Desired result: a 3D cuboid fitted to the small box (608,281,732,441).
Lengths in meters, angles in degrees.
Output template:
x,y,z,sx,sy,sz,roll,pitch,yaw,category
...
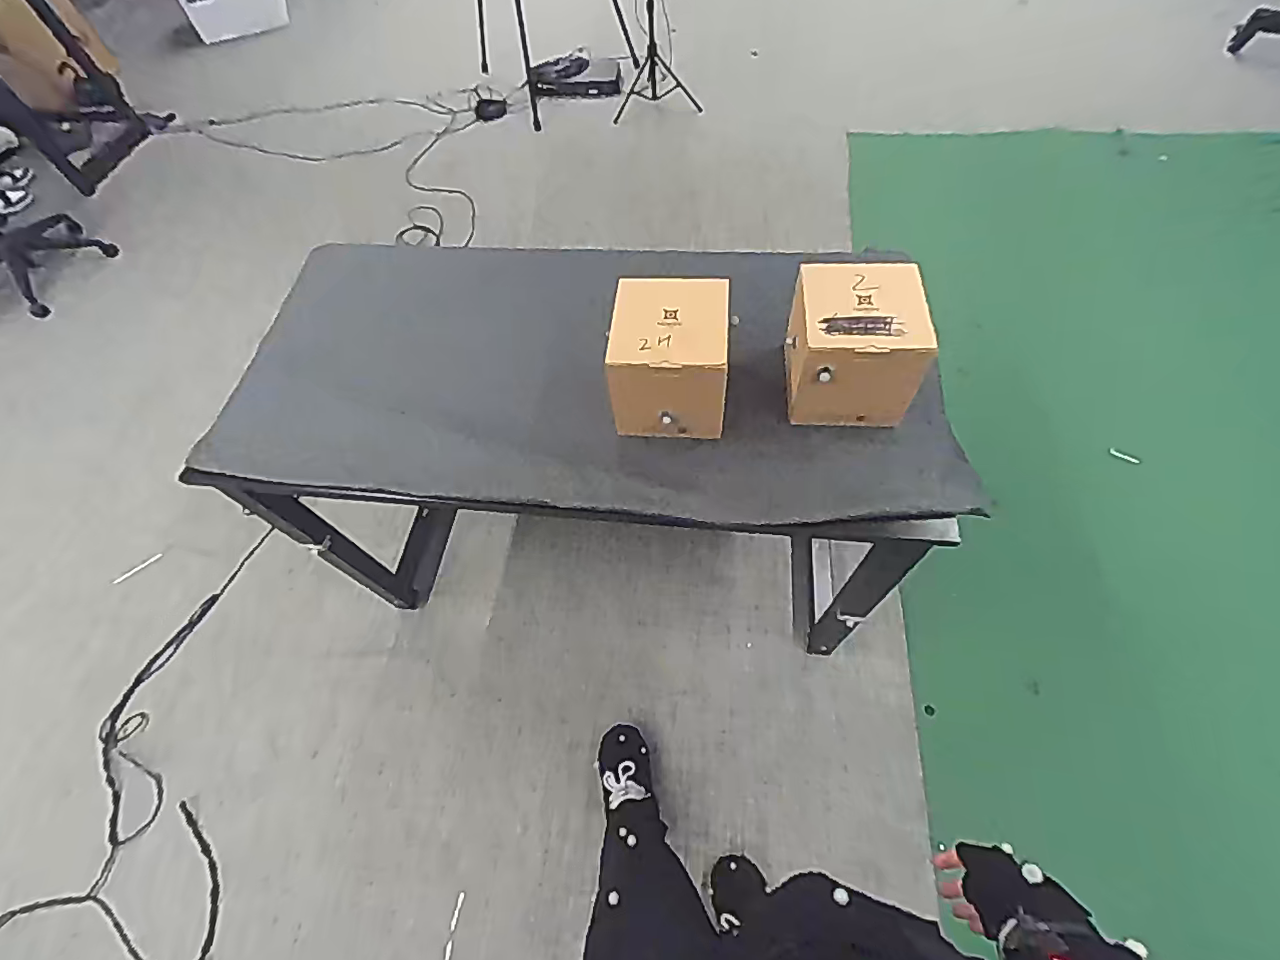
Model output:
x,y,z,sx,sy,sz,roll,pitch,yaw,category
0.051,-0.181,0.830,0.168,0.176,0.179,2,59,7,small box
